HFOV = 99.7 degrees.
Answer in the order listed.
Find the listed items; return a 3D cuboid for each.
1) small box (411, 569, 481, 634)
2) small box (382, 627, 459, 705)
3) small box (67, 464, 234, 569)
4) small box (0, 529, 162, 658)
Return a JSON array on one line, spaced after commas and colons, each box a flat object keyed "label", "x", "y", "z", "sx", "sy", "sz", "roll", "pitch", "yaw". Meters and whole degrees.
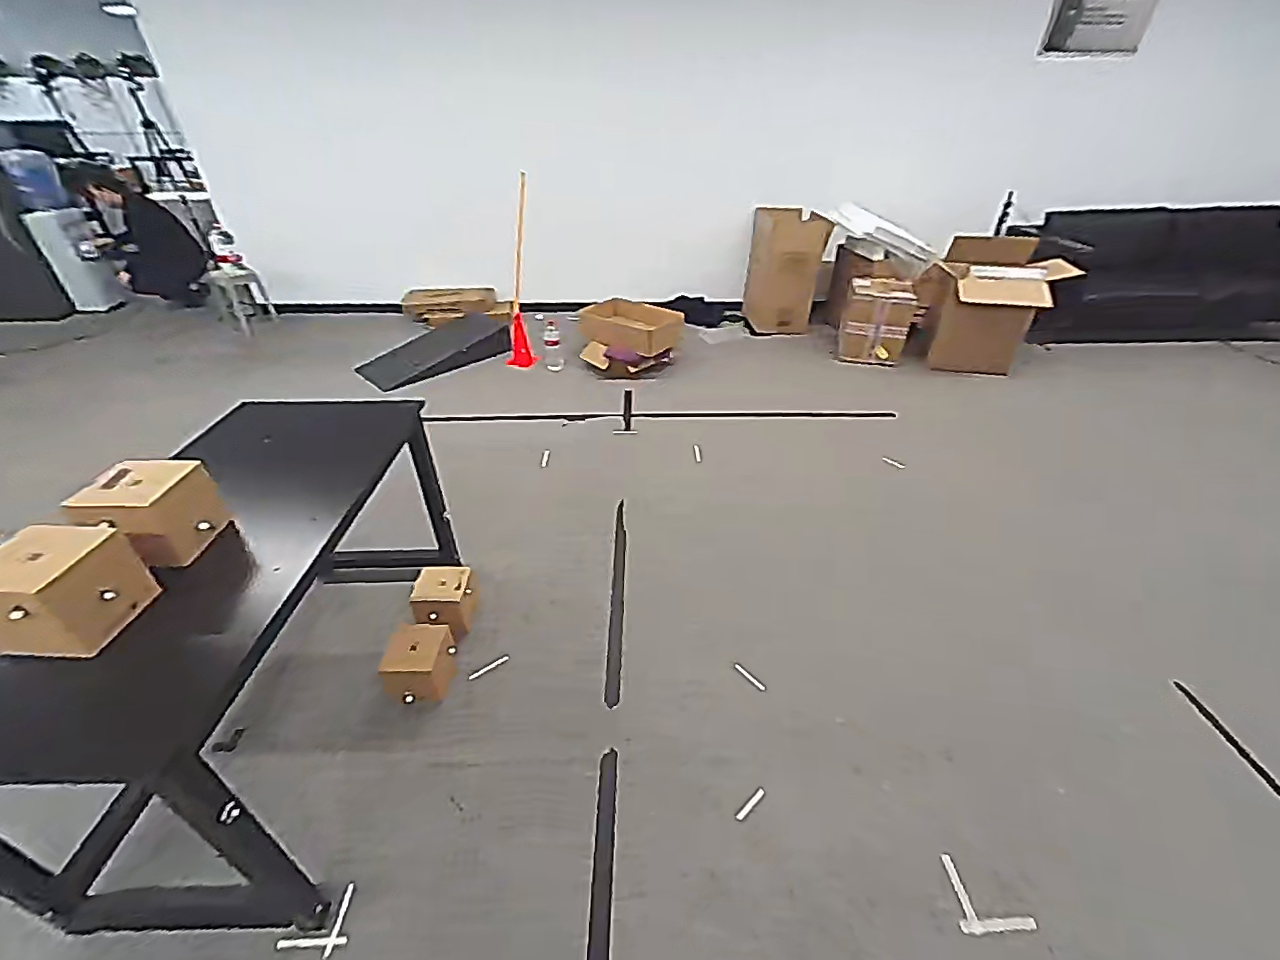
[{"label": "small box", "x": -0.685, "y": 0.436, "z": 1.933, "sx": 0.179, "sy": 0.176, "sz": 0.168, "roll": -1, "pitch": 36, "yaw": 0}, {"label": "small box", "x": -0.689, "y": 0.589, "z": 1.719, "sx": 0.168, "sy": 0.176, "sz": 0.179, "roll": -2, "pitch": 36, "yaw": 0}, {"label": "small box", "x": -1.048, "y": 0.080, "z": 1.178, "sx": 0.179, "sy": 0.176, "sz": 0.168, "roll": 0, "pitch": 35, "yaw": -1}, {"label": "small box", "x": -1.052, "y": 0.209, "z": 0.994, "sx": 0.179, "sy": 0.176, "sz": 0.168, "roll": 1, "pitch": 35, "yaw": 3}]
